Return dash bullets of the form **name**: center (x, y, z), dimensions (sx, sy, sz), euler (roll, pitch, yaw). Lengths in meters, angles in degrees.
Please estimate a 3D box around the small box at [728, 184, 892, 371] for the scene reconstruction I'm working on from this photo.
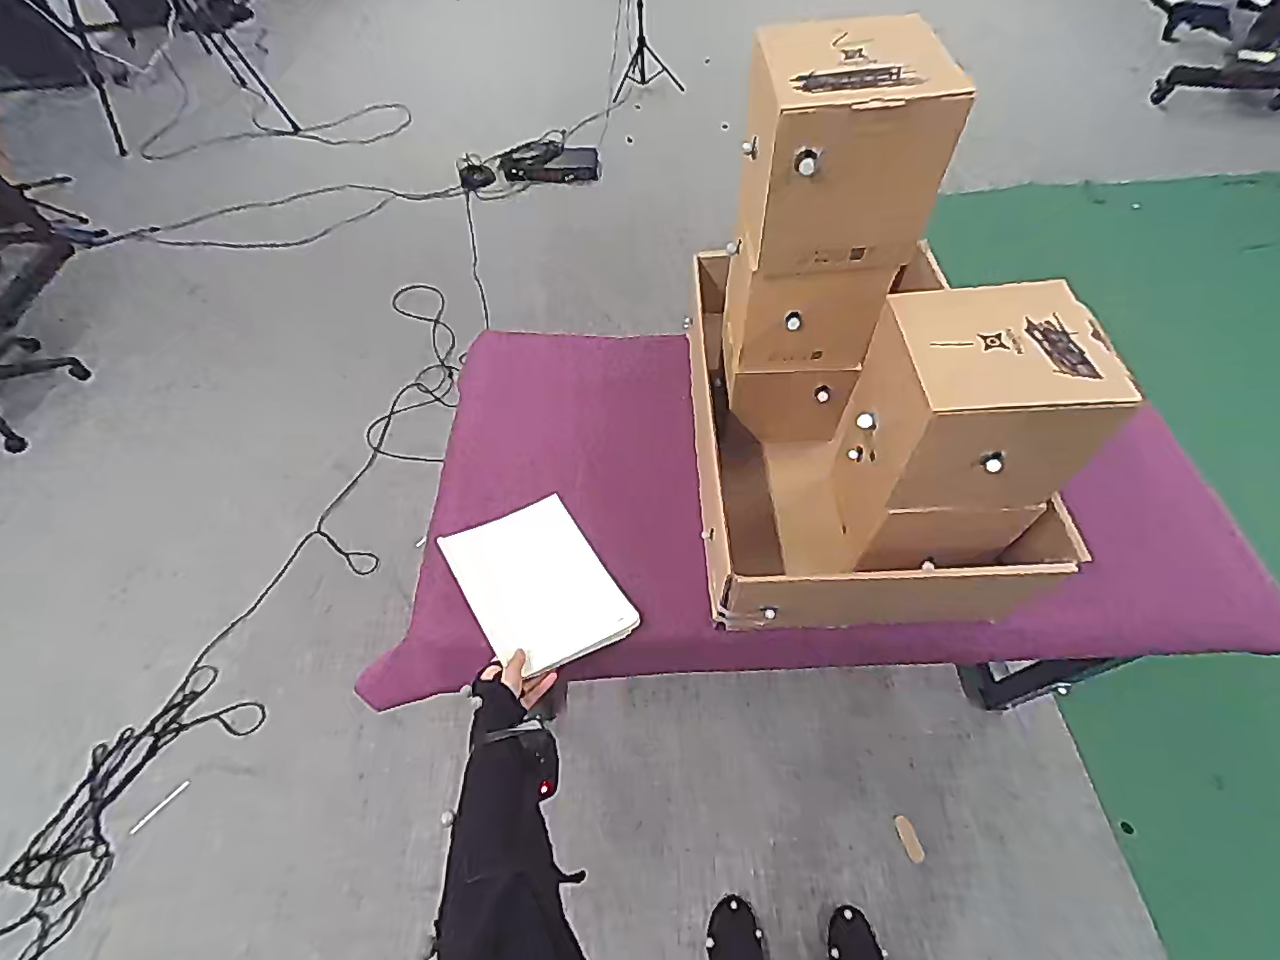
- **small box**: center (0.208, -0.258, 0.716), dimensions (0.168, 0.176, 0.179), euler (-1, 57, 4)

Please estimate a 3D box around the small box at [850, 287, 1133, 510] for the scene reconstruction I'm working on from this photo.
- **small box**: center (0.344, -0.080, 0.575), dimensions (0.179, 0.176, 0.168), euler (-3, 54, 6)
